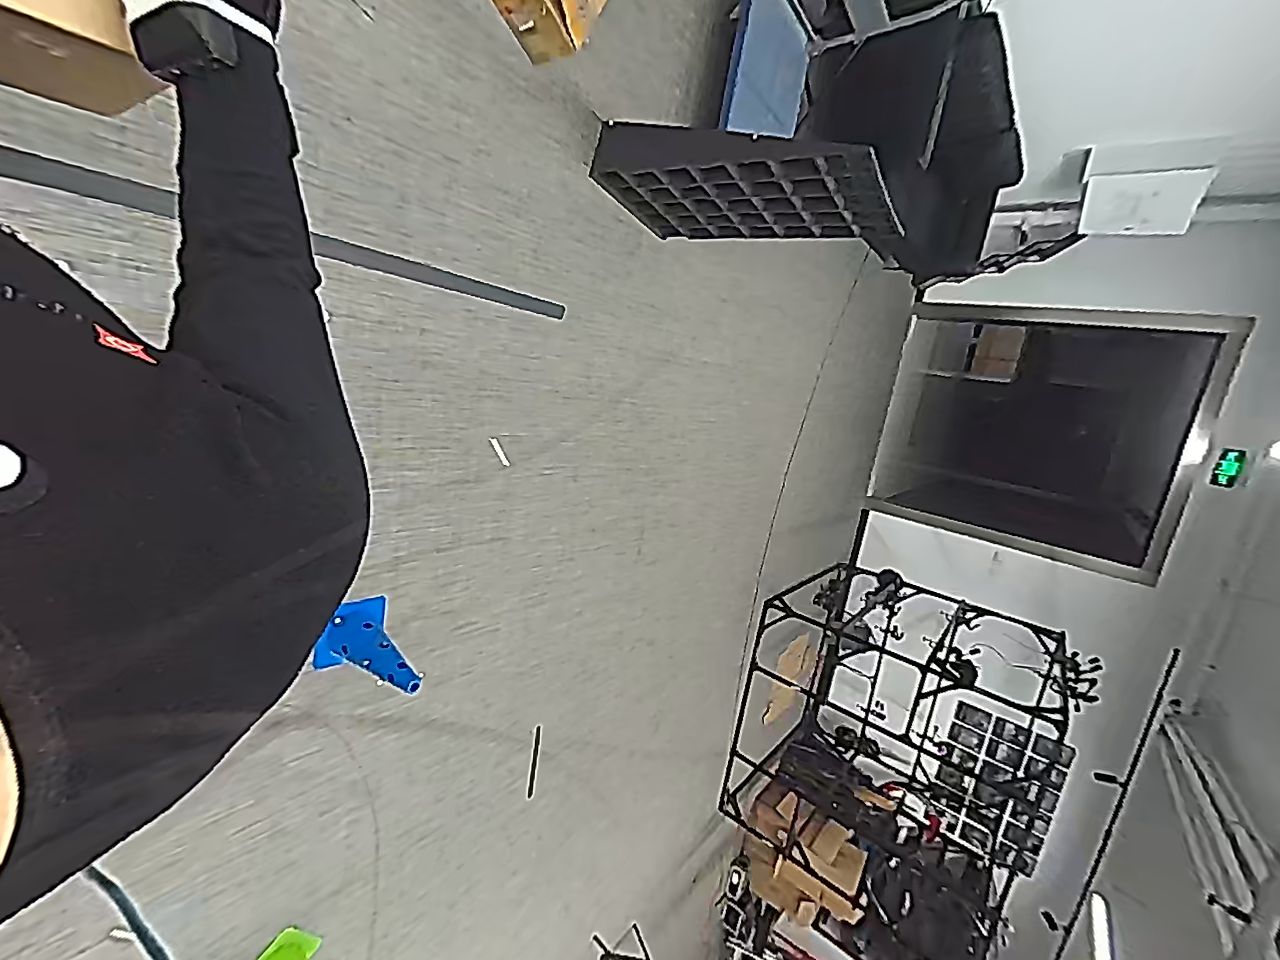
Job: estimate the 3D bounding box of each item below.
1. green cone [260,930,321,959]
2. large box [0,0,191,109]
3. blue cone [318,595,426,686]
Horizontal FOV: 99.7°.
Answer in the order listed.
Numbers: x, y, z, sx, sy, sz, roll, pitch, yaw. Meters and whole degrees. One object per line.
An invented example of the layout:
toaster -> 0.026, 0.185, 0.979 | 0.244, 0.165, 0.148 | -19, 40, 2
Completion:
green cone -> -1.011, 1.588, 1.614 | 0.202, 0.368, 0.200 | -48, 139, -32
large box -> -0.549, -0.471, 0.295 | 0.408, 0.320, 0.320 | -9, 114, -51
blue cone -> -0.741, 0.491, 1.543 | 0.192, 0.380, 0.193 | 1, 104, -55
